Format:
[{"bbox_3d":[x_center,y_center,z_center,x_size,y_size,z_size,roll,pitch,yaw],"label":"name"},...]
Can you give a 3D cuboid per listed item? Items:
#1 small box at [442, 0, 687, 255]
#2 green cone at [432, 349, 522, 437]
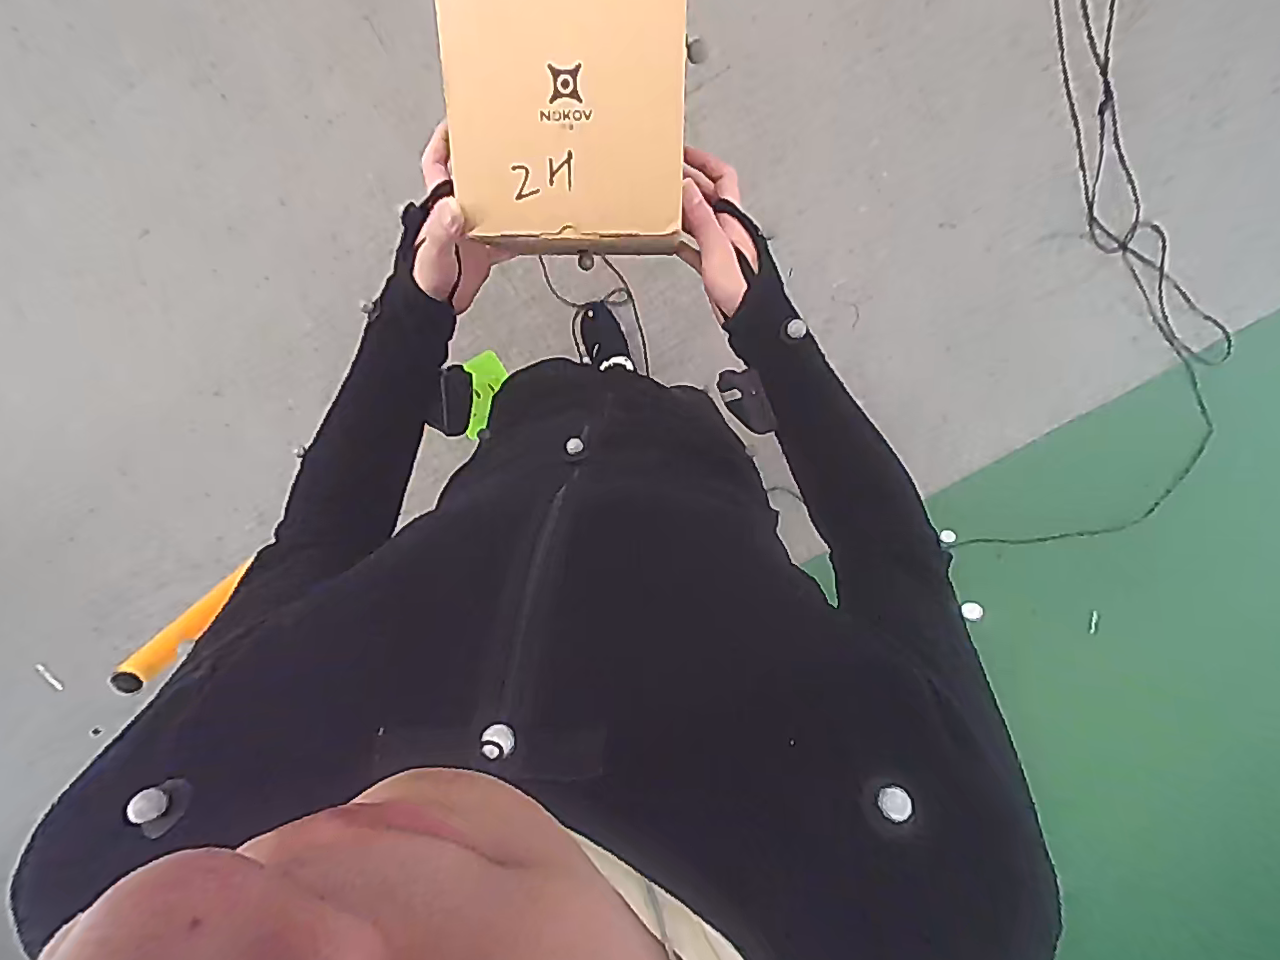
[{"bbox_3d":[-0.051,-0.290,0.453,0.168,0.176,0.179,1,109,1],"label":"small box"},{"bbox_3d":[-0.459,-0.206,1.393,0.202,0.368,0.200,-29,104,4],"label":"green cone"}]
